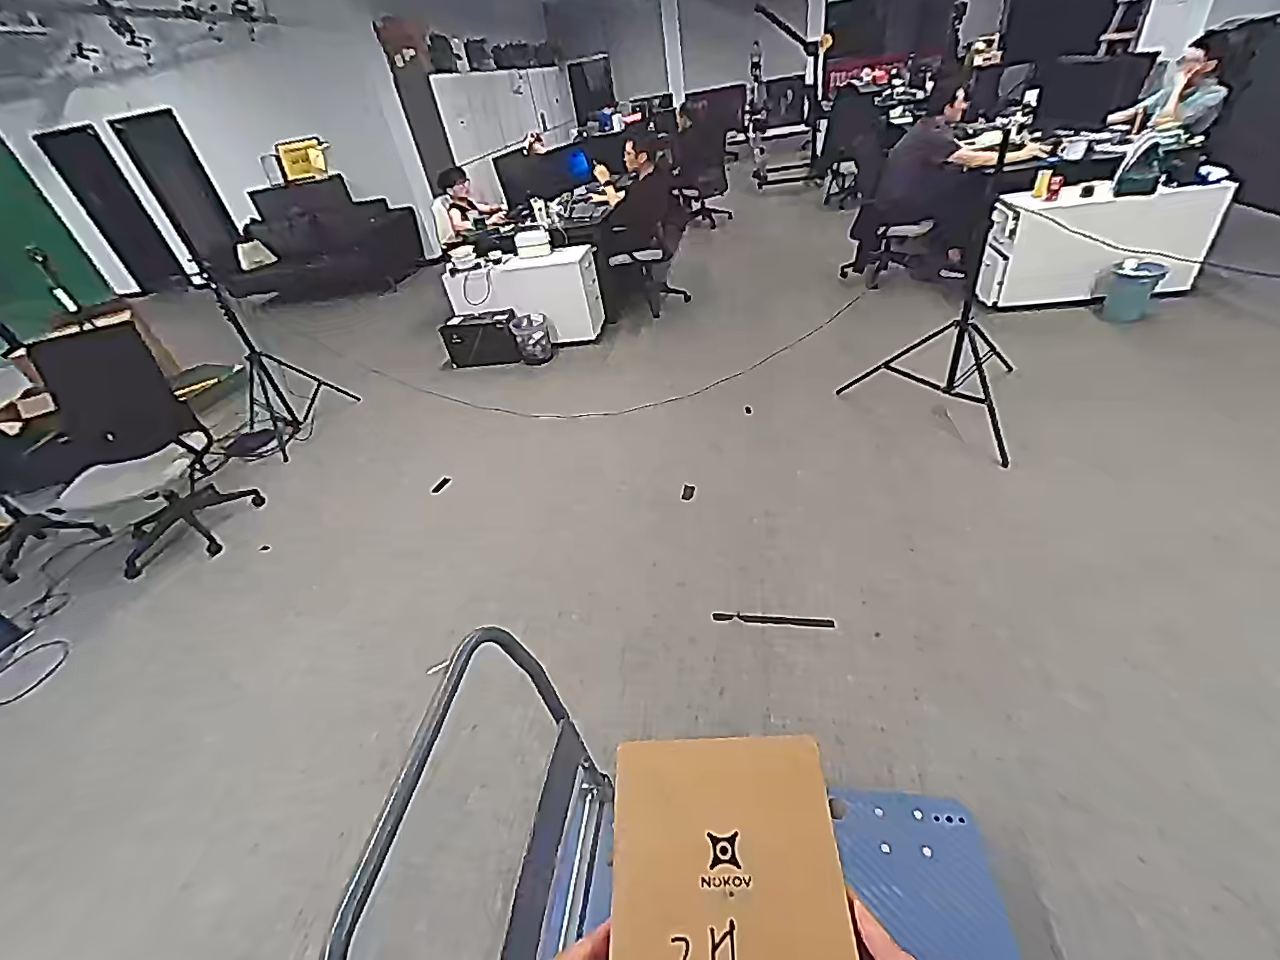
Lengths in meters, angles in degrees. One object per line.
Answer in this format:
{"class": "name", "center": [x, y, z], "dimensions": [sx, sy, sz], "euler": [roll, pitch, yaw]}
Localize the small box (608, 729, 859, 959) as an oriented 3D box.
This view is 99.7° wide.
{"class": "small box", "center": [0.072, 0.326, 0.446], "dimensions": [0.168, 0.176, 0.179], "euler": [-6, 47, 8]}
